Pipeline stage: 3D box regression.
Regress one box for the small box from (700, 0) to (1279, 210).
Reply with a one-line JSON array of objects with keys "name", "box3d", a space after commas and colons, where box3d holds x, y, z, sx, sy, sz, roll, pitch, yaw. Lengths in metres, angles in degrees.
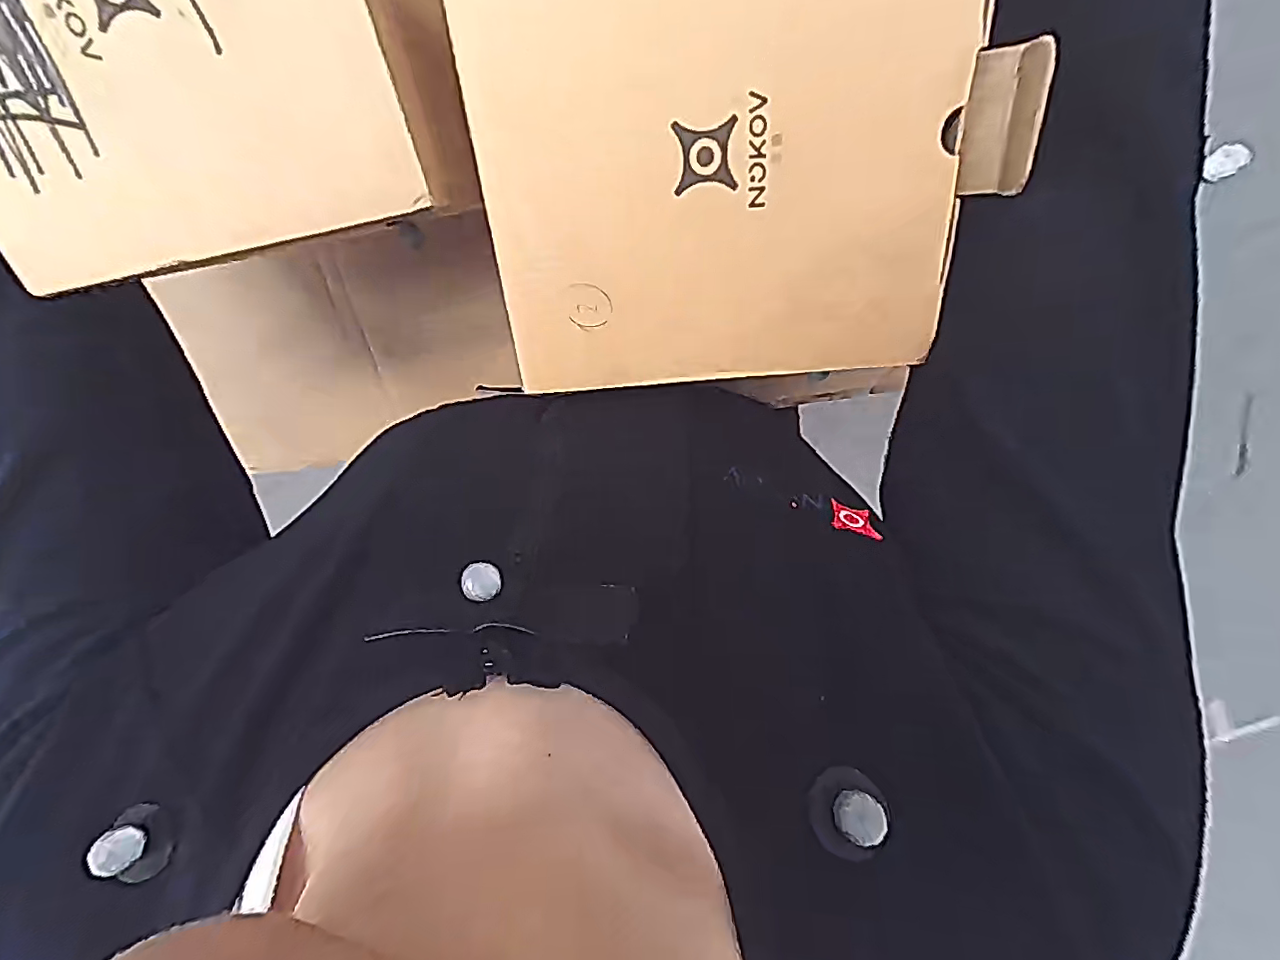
[{"name": "small box", "box3d": [0.125, -0.217, 0.209, 0.179, 0.176, 0.168, 8, 125, -3]}]
